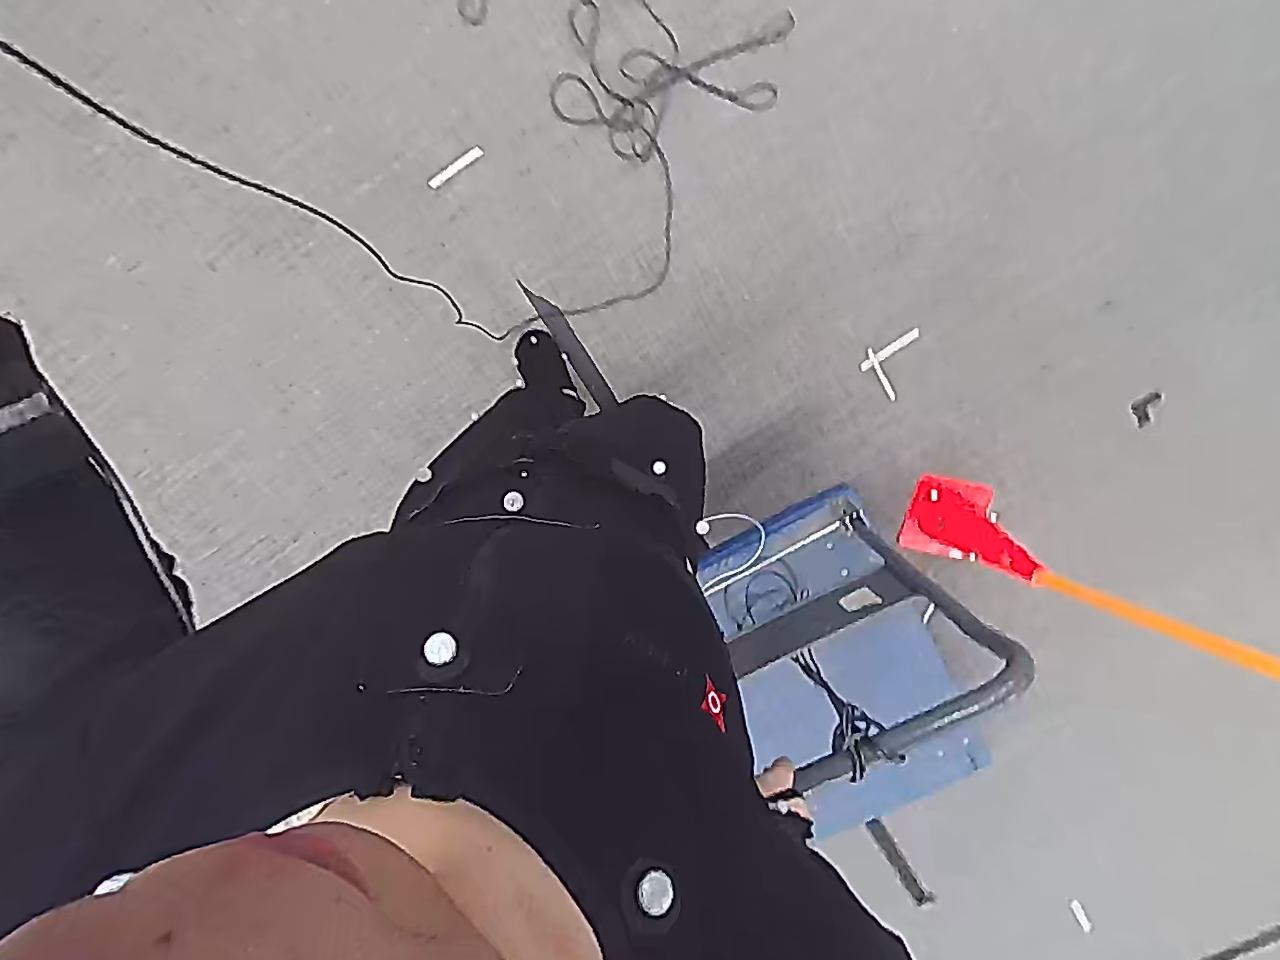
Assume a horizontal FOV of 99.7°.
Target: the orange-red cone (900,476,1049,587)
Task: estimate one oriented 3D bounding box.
[{"bbox_3d":[0.788,0.147,1.229,0.198,0.360,0.199,13,107,-3],"label":"orange-red cone"}]
